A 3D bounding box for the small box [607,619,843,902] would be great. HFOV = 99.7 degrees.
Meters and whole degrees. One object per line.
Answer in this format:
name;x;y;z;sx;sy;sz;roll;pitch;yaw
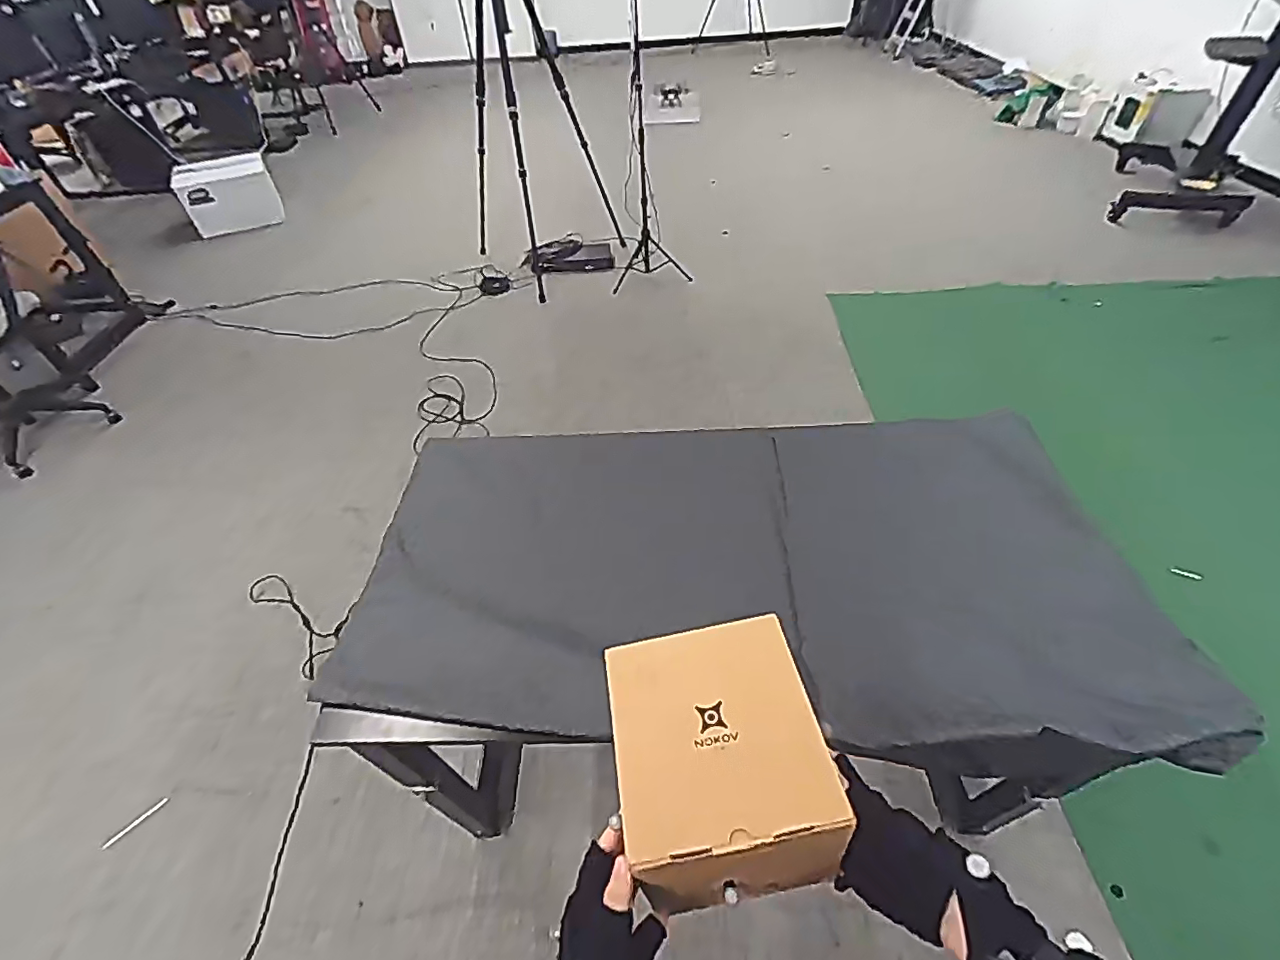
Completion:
small box;0.068;0.262;0.509;0.168;0.176;0.179;-12;44;0
